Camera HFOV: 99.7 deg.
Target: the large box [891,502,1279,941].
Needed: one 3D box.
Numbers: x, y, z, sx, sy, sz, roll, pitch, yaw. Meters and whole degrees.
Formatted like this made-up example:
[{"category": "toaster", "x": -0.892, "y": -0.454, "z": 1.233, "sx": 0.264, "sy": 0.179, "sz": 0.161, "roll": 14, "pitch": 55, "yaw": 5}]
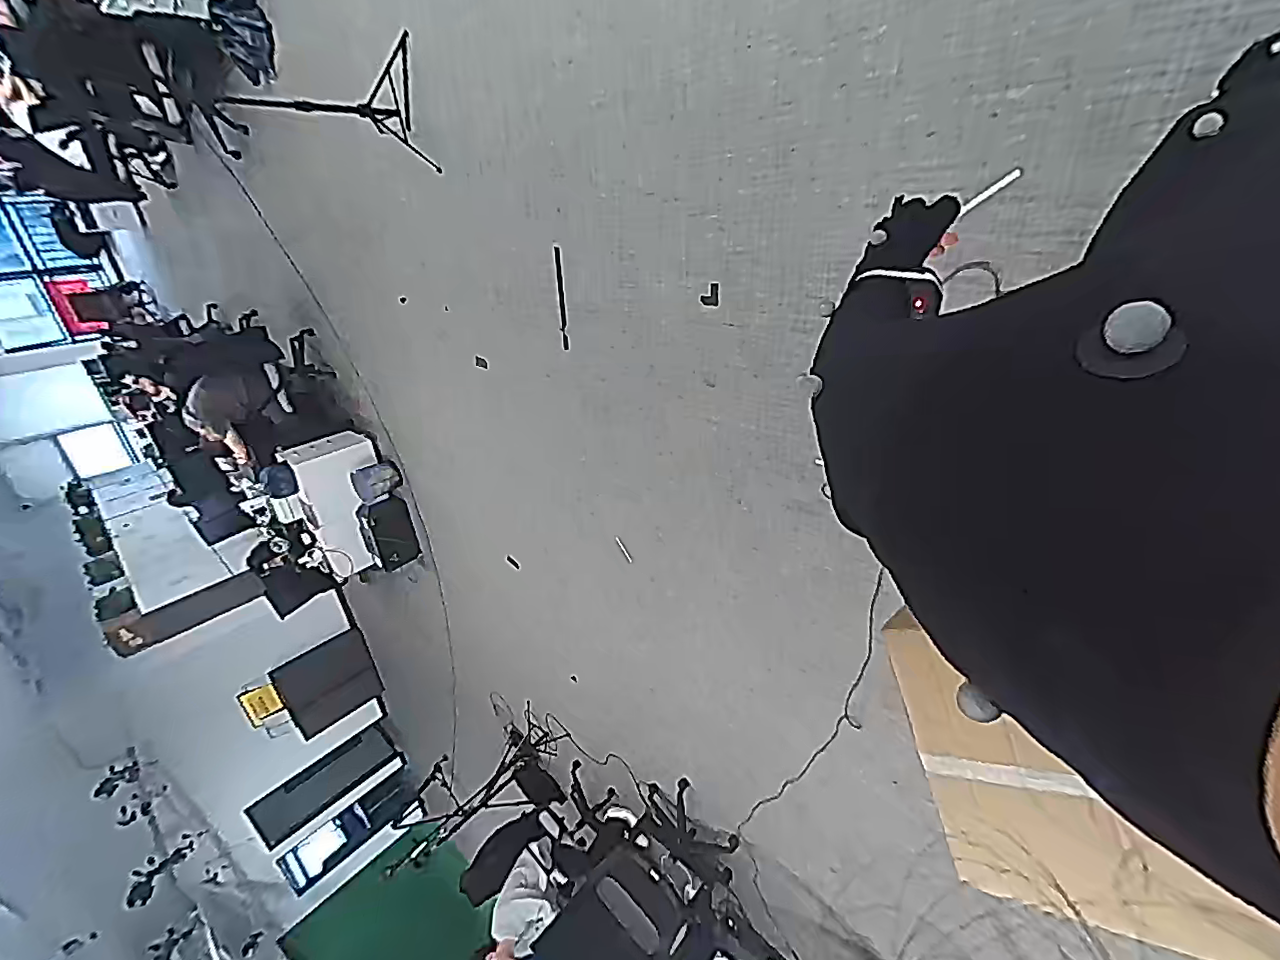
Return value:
[{"category": "large box", "x": 0.570, "y": 0.226, "z": 0.598, "sx": 0.408, "sy": 0.320, "sz": 0.320, "roll": -17, "pitch": 91, "yaw": 46}]
